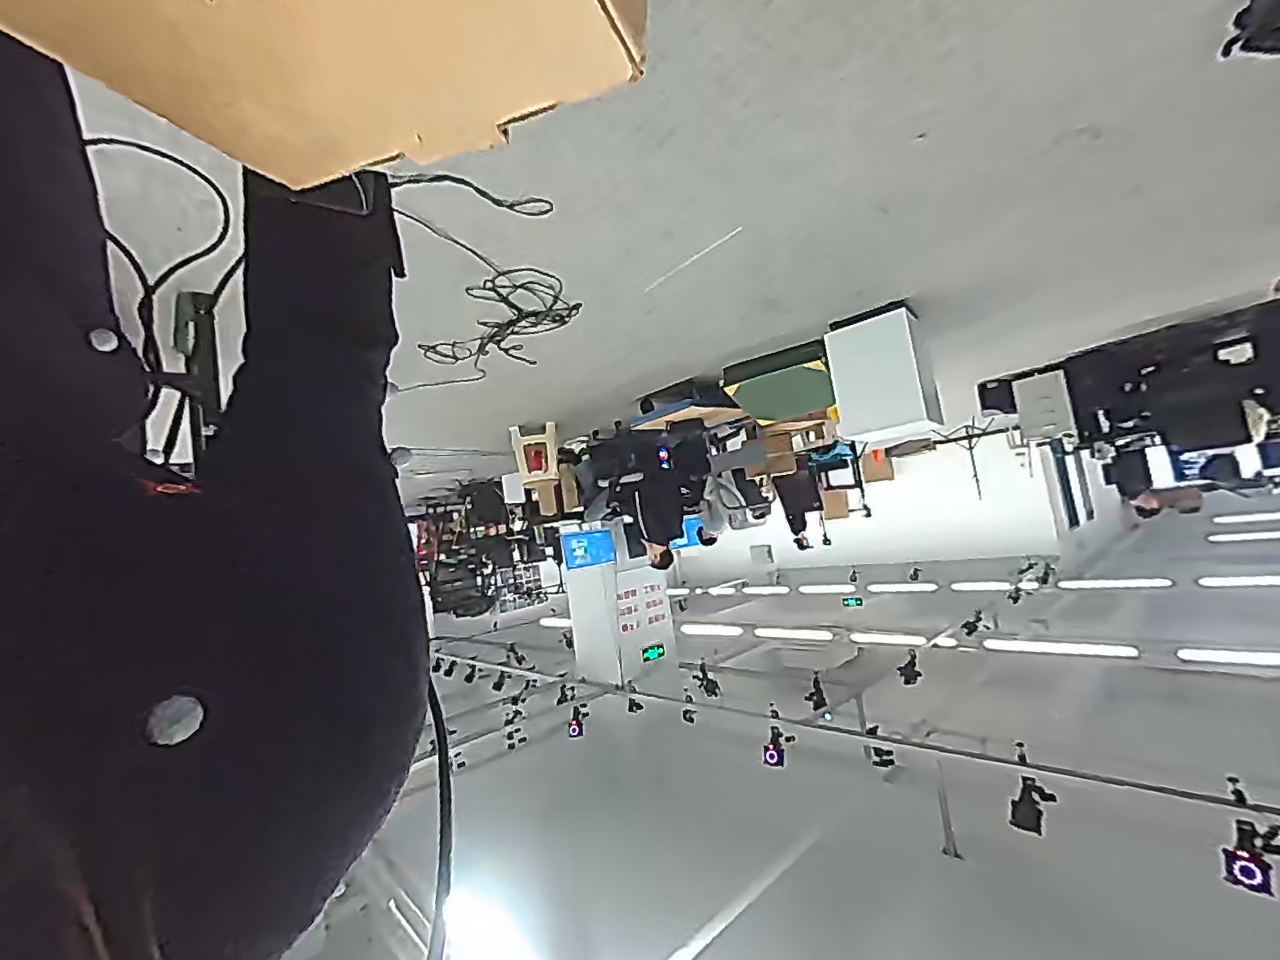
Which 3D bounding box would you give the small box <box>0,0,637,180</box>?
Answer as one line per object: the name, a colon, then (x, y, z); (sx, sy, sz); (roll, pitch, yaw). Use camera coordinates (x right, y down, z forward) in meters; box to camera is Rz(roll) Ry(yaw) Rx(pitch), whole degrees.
small box: (-0.108, -0.218, 0.130); (0.168, 0.176, 0.179); (-1, 177, 22)
